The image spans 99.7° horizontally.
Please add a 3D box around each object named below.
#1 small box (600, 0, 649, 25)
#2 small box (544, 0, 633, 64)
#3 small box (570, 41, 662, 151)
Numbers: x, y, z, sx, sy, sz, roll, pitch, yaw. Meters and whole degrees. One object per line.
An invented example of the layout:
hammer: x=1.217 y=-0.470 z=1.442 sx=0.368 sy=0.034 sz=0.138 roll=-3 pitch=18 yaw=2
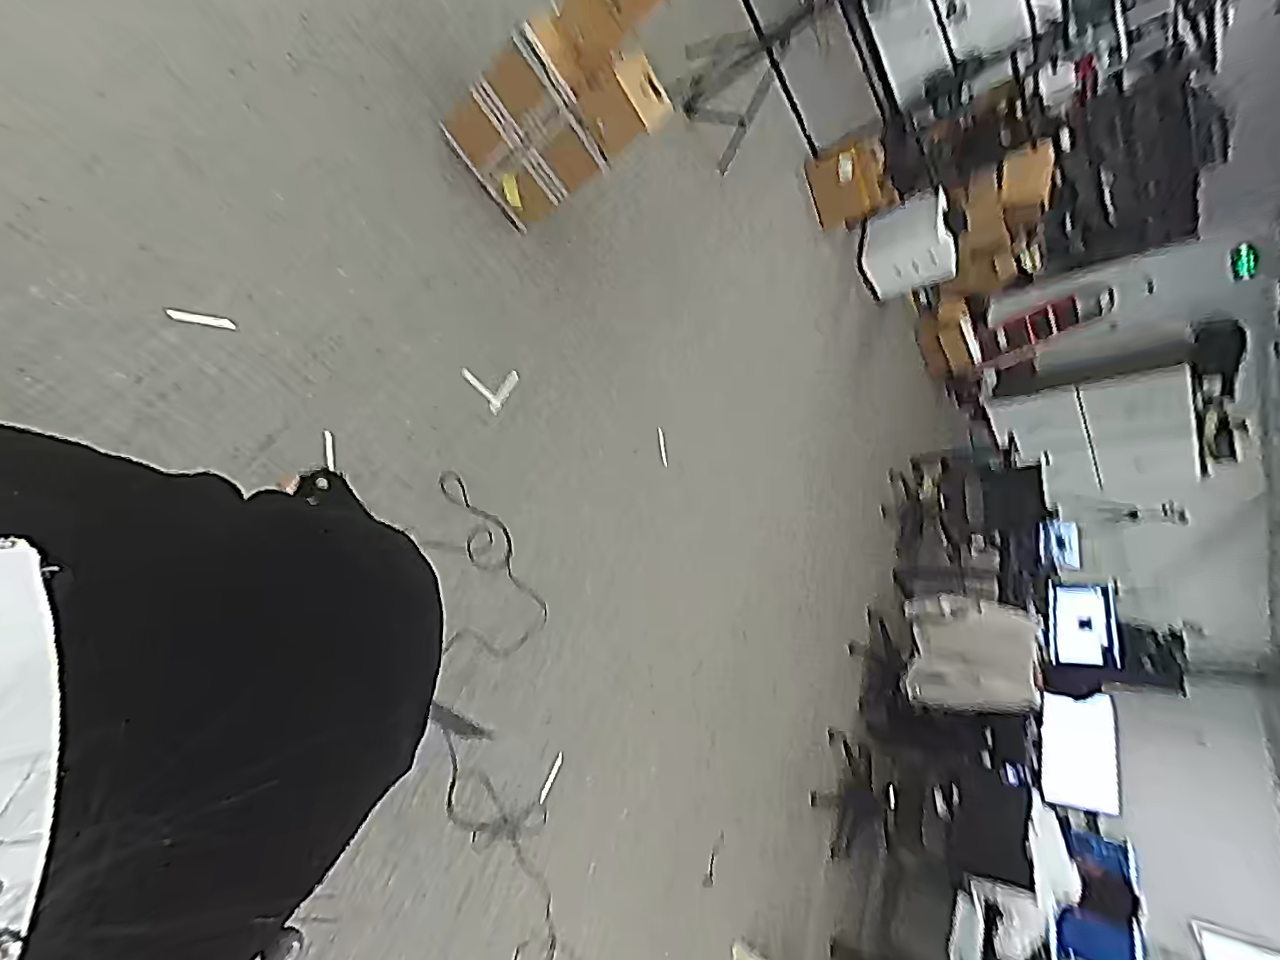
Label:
small box: x=-0.023 y=-1.339 z=1.396 sx=0.168 sy=0.176 sz=0.179 roll=47 pitch=55 yaw=-28
small box: x=-0.137 y=-1.323 z=1.511 sx=0.168 sy=0.176 sz=0.179 roll=47 pitch=54 yaw=-28
small box: x=-0.071 y=-1.091 z=1.545 sx=0.168 sy=0.176 sz=0.179 roll=48 pitch=54 yaw=-30
